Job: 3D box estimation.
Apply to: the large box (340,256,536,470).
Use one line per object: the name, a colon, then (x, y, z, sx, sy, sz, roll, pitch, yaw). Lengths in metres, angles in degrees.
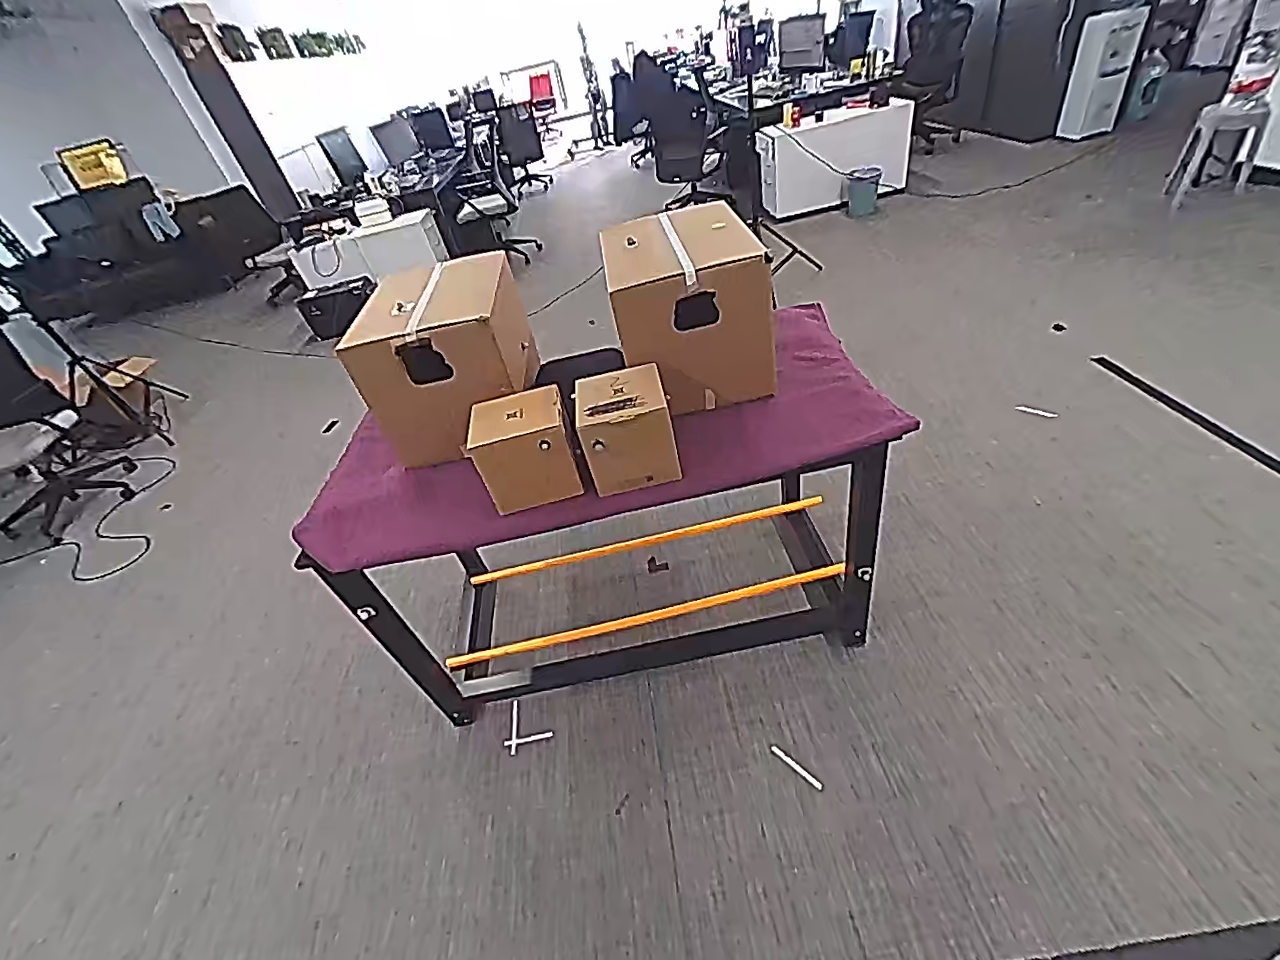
large box: (-0.440, -0.287, 1.295, 0.320, 0.320, 0.408, -13, 42, 2)
